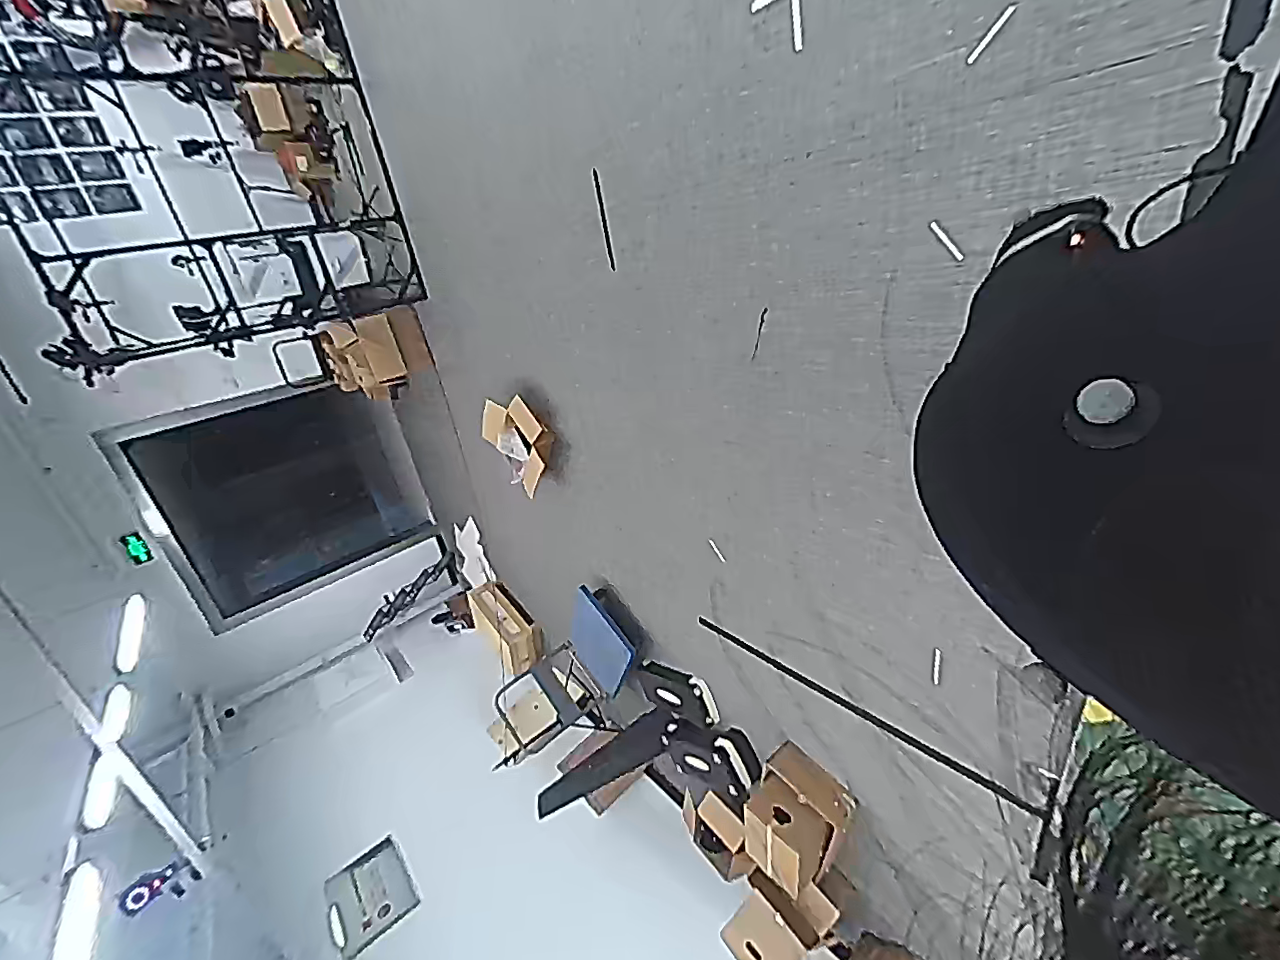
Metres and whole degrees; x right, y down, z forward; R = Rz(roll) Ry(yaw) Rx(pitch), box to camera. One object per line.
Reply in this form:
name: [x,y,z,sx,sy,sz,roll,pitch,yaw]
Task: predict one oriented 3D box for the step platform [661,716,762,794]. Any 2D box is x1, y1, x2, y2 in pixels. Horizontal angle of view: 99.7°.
step platform: [0.400,1.633,3.232,0.684,0.204,0.286,-27,90,57]
